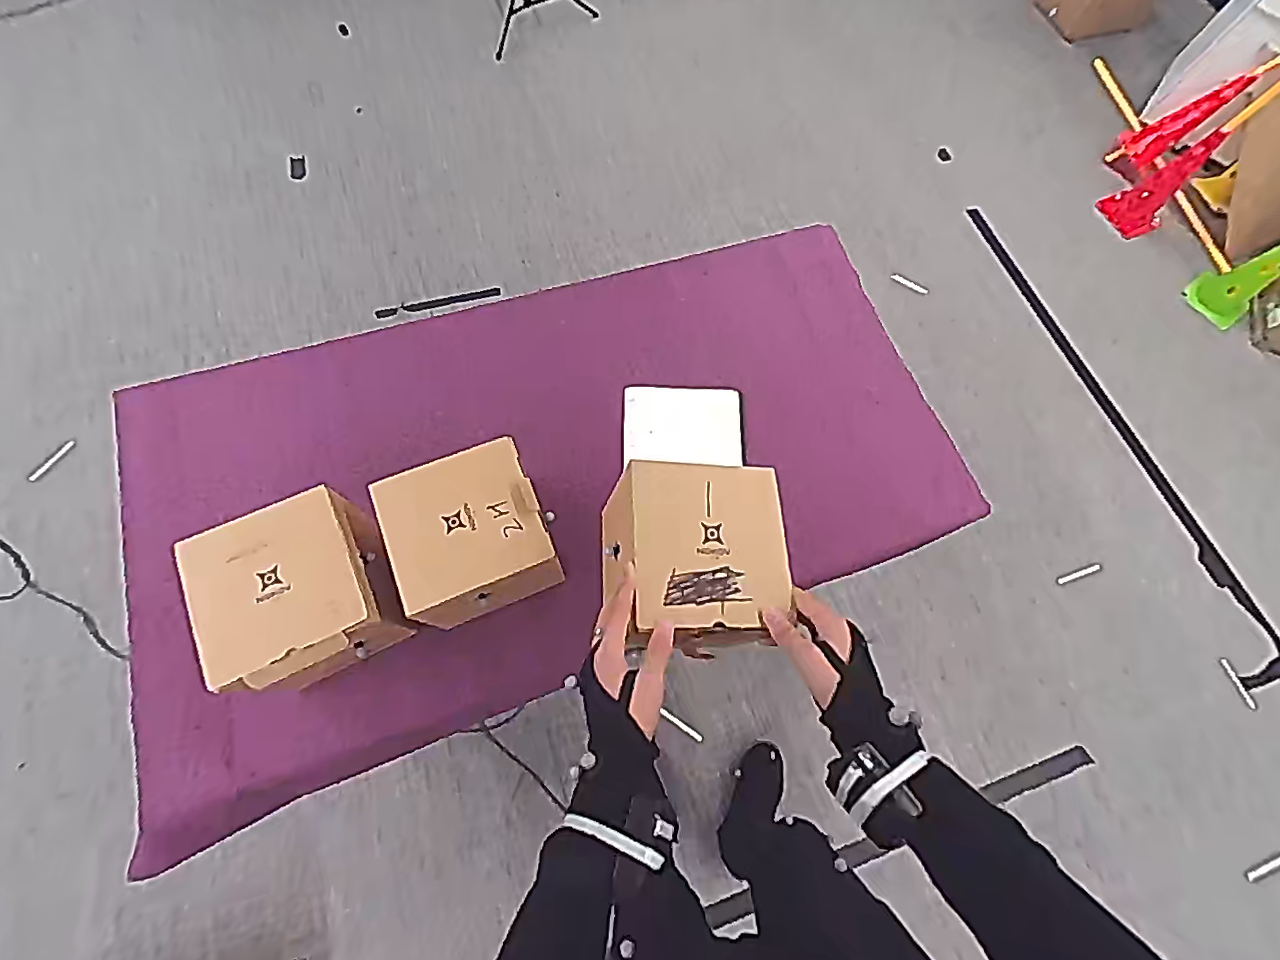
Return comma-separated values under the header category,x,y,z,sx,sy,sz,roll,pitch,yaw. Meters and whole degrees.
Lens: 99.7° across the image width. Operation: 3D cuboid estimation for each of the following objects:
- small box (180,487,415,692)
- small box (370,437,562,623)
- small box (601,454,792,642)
category,x,y,z,sx,sy,sz,roll,pitch,yaw
small box,-0.403,0.138,0.665,0.168,0.176,0.179,-25,73,-13
small box,-0.212,0.074,0.700,0.179,0.176,0.168,-21,73,-12
small box,0.050,0.088,0.615,0.168,0.176,0.179,3,66,-13
